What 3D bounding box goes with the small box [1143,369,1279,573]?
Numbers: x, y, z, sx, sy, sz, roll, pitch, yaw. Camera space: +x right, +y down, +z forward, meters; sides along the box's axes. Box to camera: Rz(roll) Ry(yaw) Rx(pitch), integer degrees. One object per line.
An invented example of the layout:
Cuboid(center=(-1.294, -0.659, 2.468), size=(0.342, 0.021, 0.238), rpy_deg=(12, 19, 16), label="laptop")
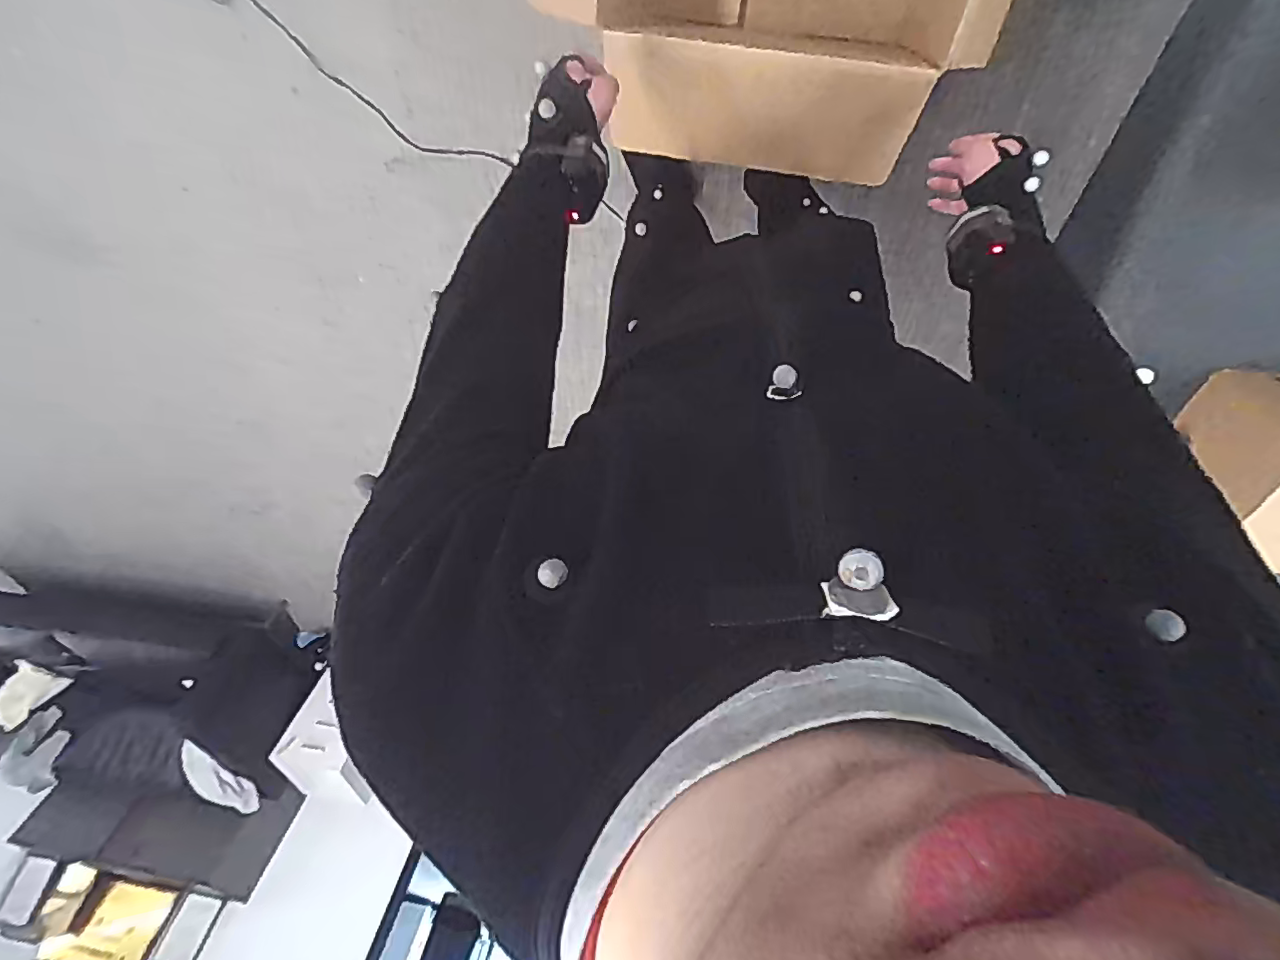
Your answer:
Cuboid(center=(0.763, -0.008, 0.644), size=(0.168, 0.176, 0.179), rpy_deg=(7, 133, 7), label="small box")
